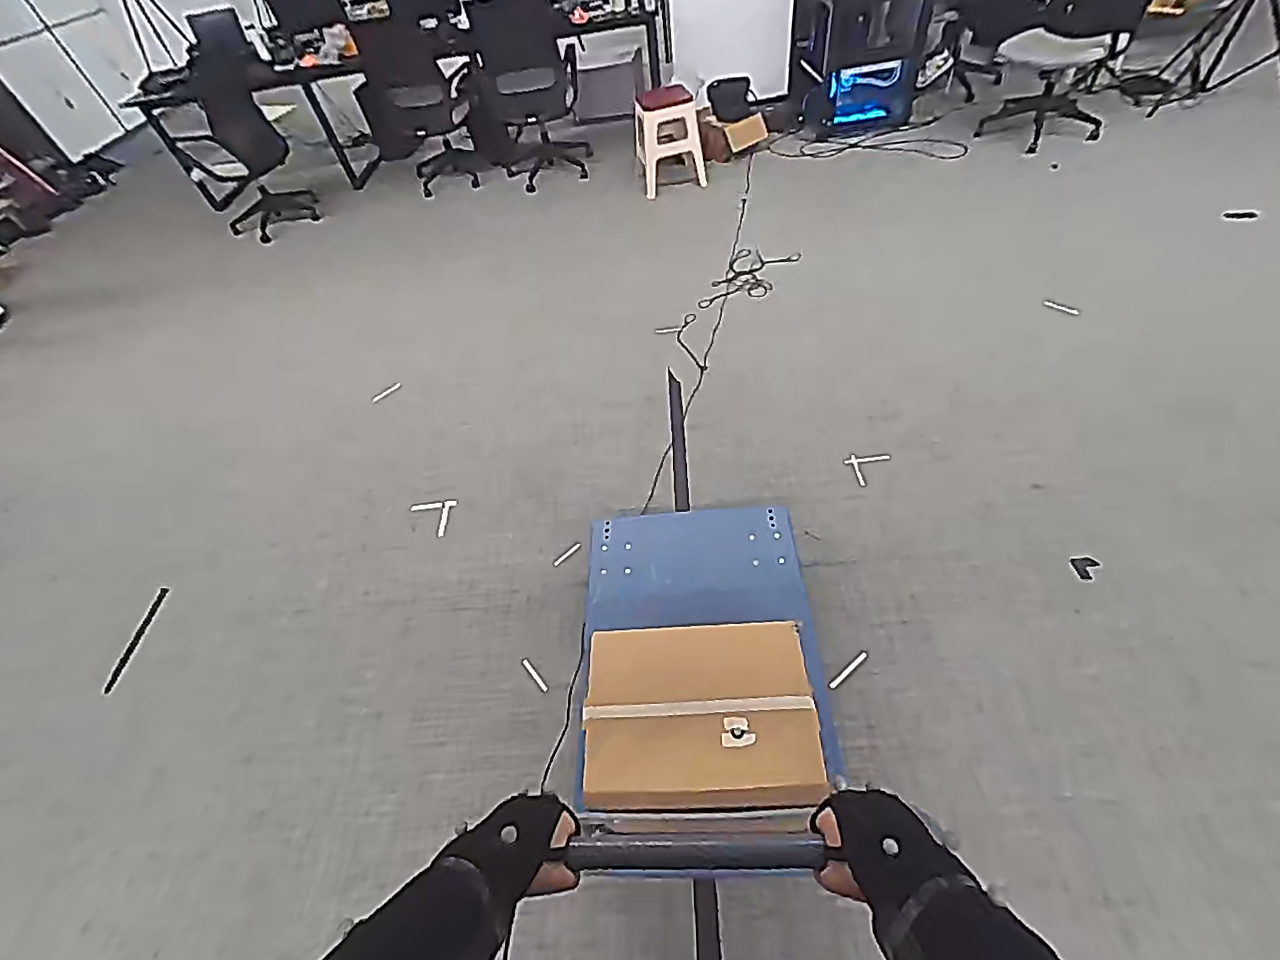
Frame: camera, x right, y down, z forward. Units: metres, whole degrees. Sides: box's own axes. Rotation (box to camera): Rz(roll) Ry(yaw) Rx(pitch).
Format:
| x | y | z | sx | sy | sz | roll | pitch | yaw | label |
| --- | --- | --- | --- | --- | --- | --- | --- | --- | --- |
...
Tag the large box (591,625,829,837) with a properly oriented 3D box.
| x | y | z | sx | sy | sz | roll | pitch | yaw | label |
| --- | --- | --- | --- | --- | --- | --- | --- | --- | --- |
| 0.125 | 0.516 | 1.098 | 0.408 | 0.320 | 0.320 | -5 | 51 | 5 | large box |
